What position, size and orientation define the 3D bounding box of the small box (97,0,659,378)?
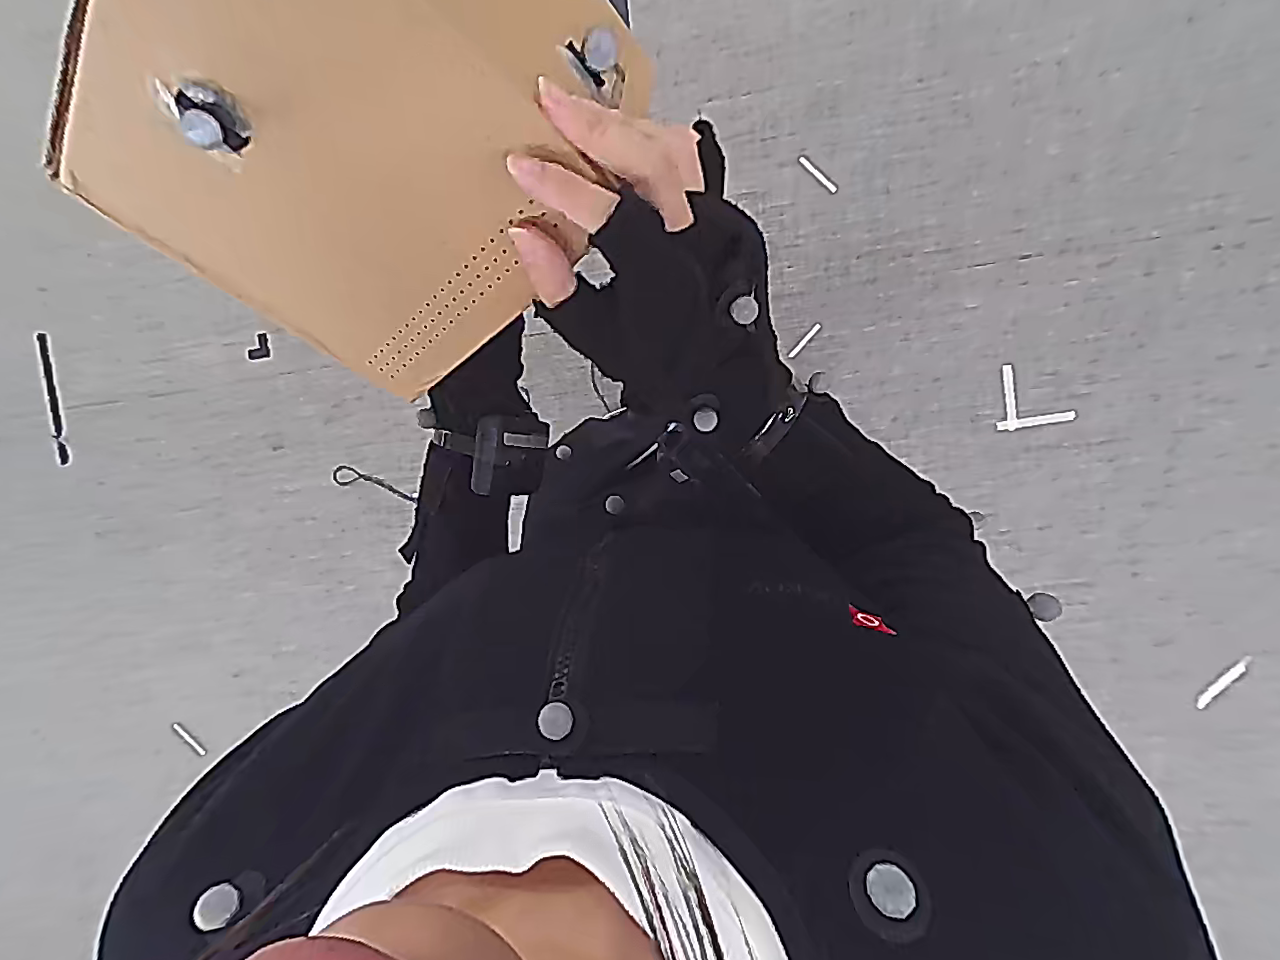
[{"bbox_3d":[-0.112,-0.185,0.279,0.179,0.168,0.176,-25,136,34],"label":"small box"}]
